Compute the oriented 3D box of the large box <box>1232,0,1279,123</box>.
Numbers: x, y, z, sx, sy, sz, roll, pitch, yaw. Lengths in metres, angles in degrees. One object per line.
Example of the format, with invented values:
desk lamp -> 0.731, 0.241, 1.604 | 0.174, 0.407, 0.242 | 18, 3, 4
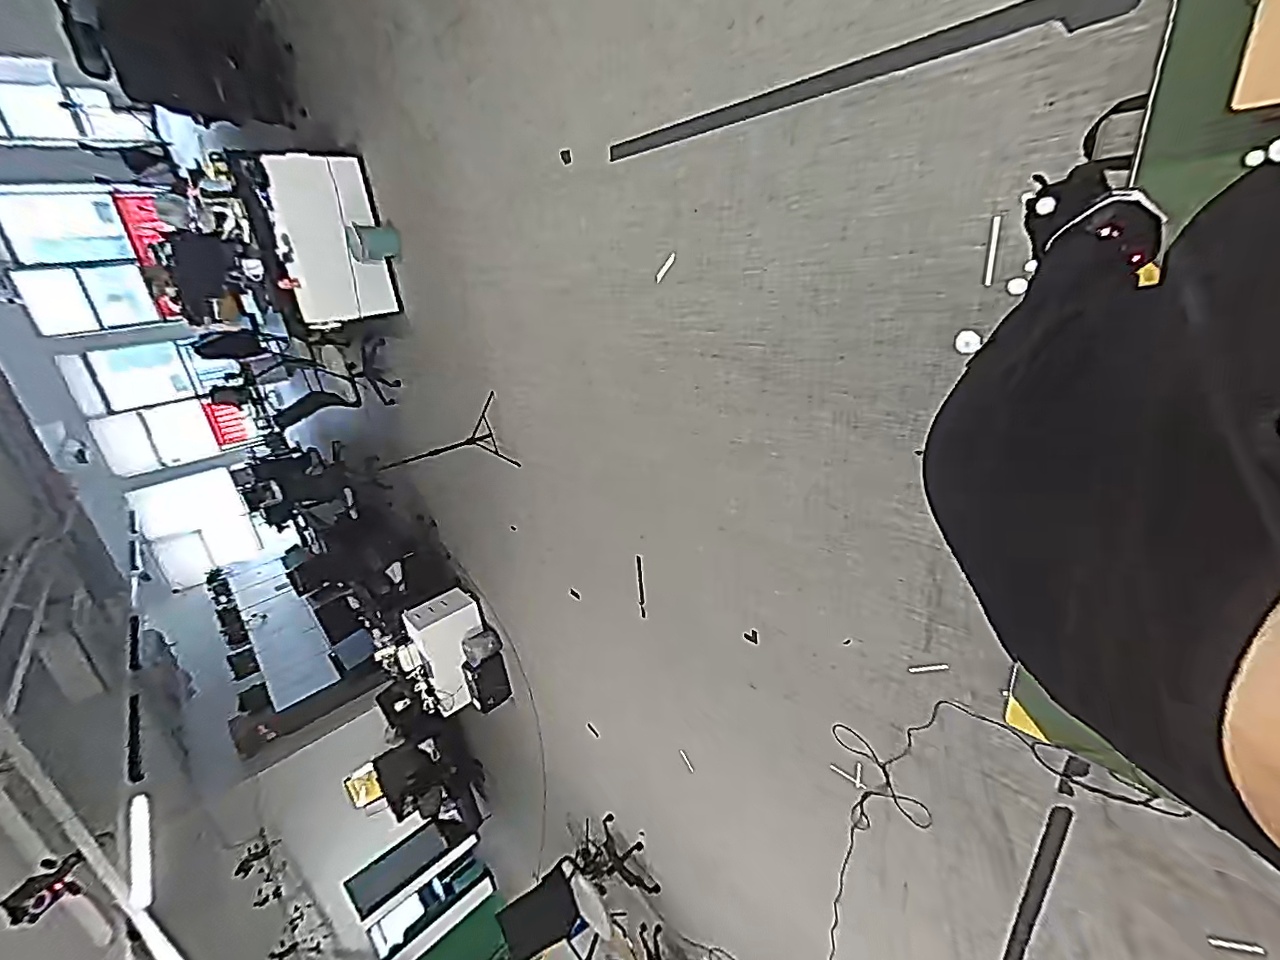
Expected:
large box -> 1.035, -0.659, 0.639 | 0.408, 0.320, 0.320 | 17, 123, 44
